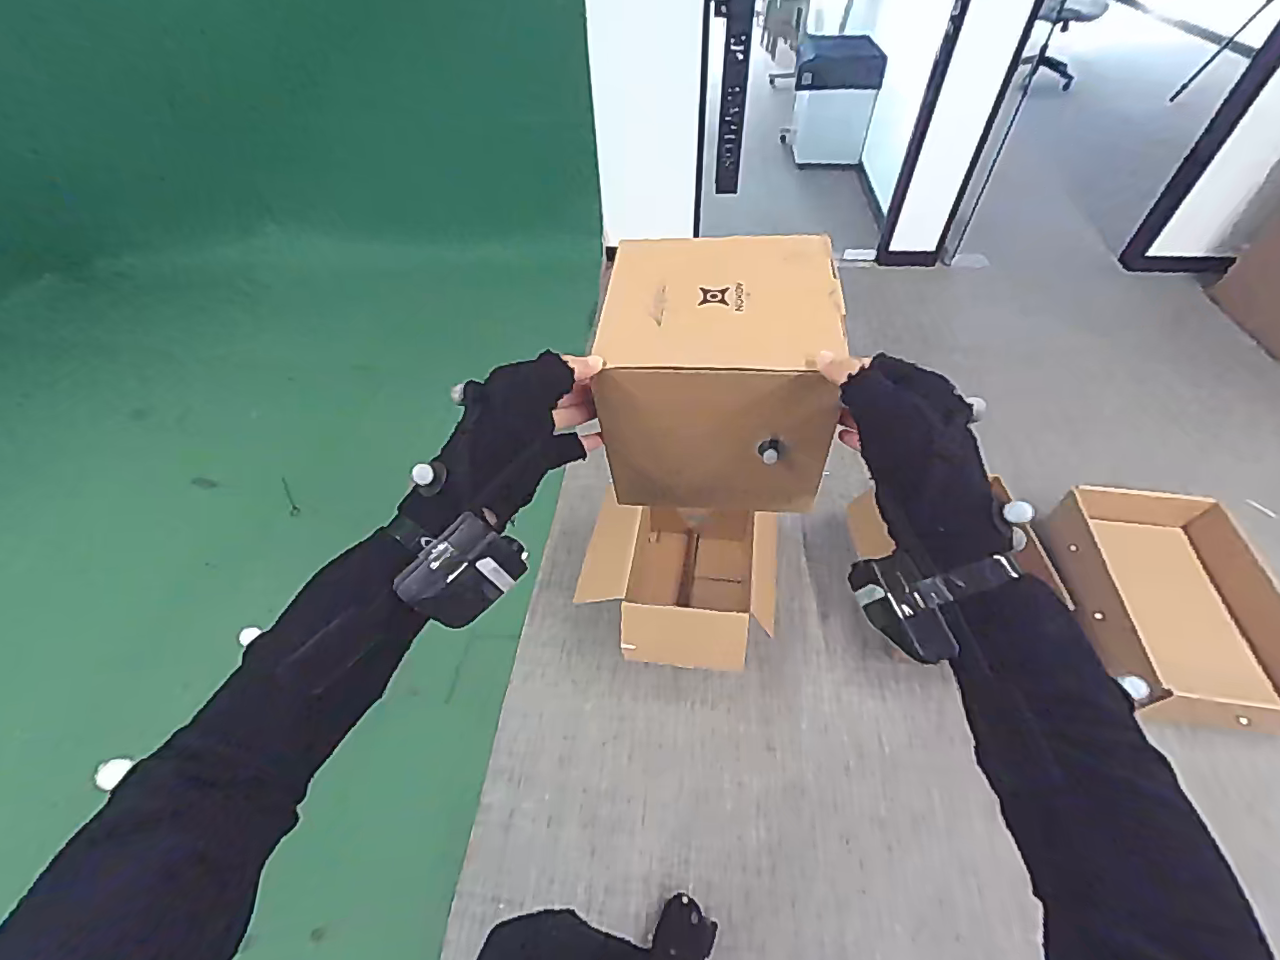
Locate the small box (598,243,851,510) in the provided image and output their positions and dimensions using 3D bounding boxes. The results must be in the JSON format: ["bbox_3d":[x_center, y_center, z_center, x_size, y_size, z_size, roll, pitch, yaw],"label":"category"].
[{"bbox_3d":[0.071,-0.087,0.481,0.179,0.176,0.168,3,52,8],"label":"small box"}]
